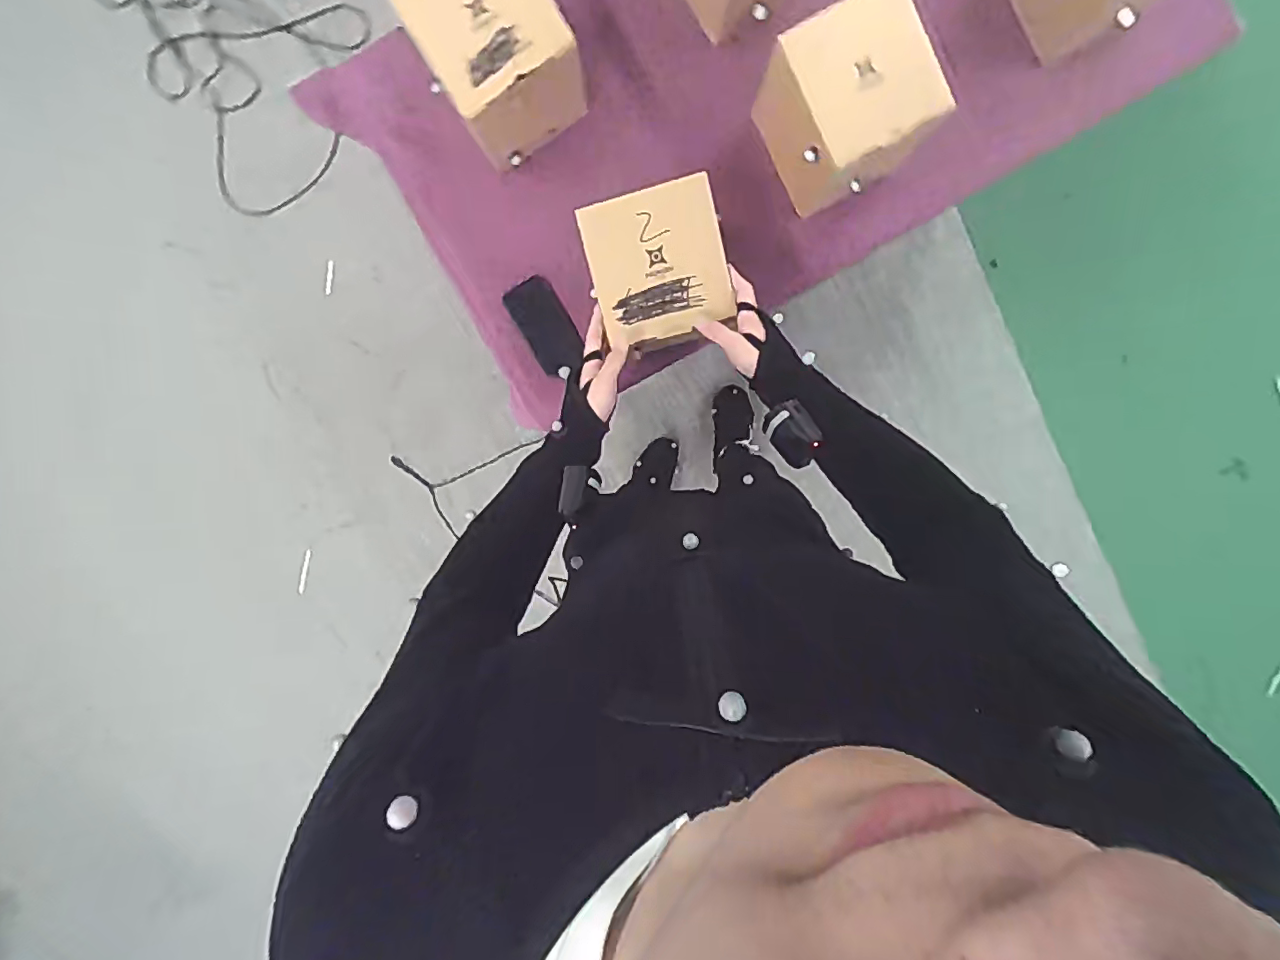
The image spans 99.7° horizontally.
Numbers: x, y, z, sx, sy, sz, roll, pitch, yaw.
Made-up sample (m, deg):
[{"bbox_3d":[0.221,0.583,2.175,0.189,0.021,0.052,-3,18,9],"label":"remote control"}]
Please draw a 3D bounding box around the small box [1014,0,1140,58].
[{"bbox_3d":[0.619,-0.726,0.714,0.168,0.176,0.179,-31,96,5],"label":"small box"}]

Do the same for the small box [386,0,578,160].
[{"bbox_3d":[-0.199,-0.572,0.730,0.168,0.176,0.179,-33,96,3],"label":"small box"}]

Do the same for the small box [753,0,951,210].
[{"bbox_3d":[0.275,-0.514,0.743,0.168,0.176,0.179,-28,96,3],"label":"small box"}]

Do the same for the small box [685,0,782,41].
[{"bbox_3d":[0.127,-0.748,0.711,0.168,0.176,0.179,-33,97,5],"label":"small box"}]
